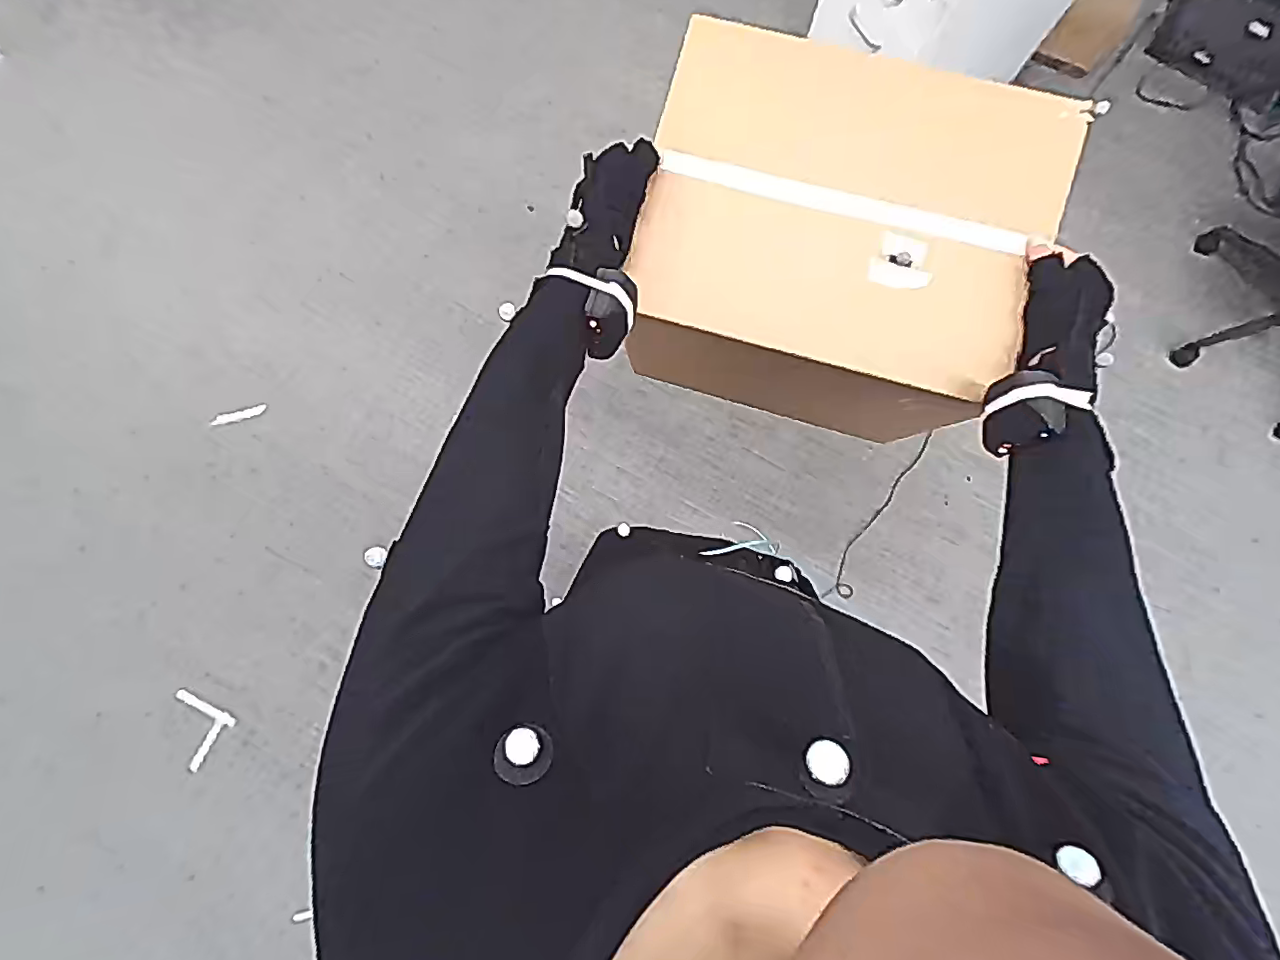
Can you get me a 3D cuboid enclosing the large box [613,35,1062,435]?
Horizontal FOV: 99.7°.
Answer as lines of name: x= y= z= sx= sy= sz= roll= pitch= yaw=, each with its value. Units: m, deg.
large box: x=0.205 y=-0.270 z=0.702 sx=0.408 sy=0.320 sz=0.320 roll=16 pitch=90 yaw=4
